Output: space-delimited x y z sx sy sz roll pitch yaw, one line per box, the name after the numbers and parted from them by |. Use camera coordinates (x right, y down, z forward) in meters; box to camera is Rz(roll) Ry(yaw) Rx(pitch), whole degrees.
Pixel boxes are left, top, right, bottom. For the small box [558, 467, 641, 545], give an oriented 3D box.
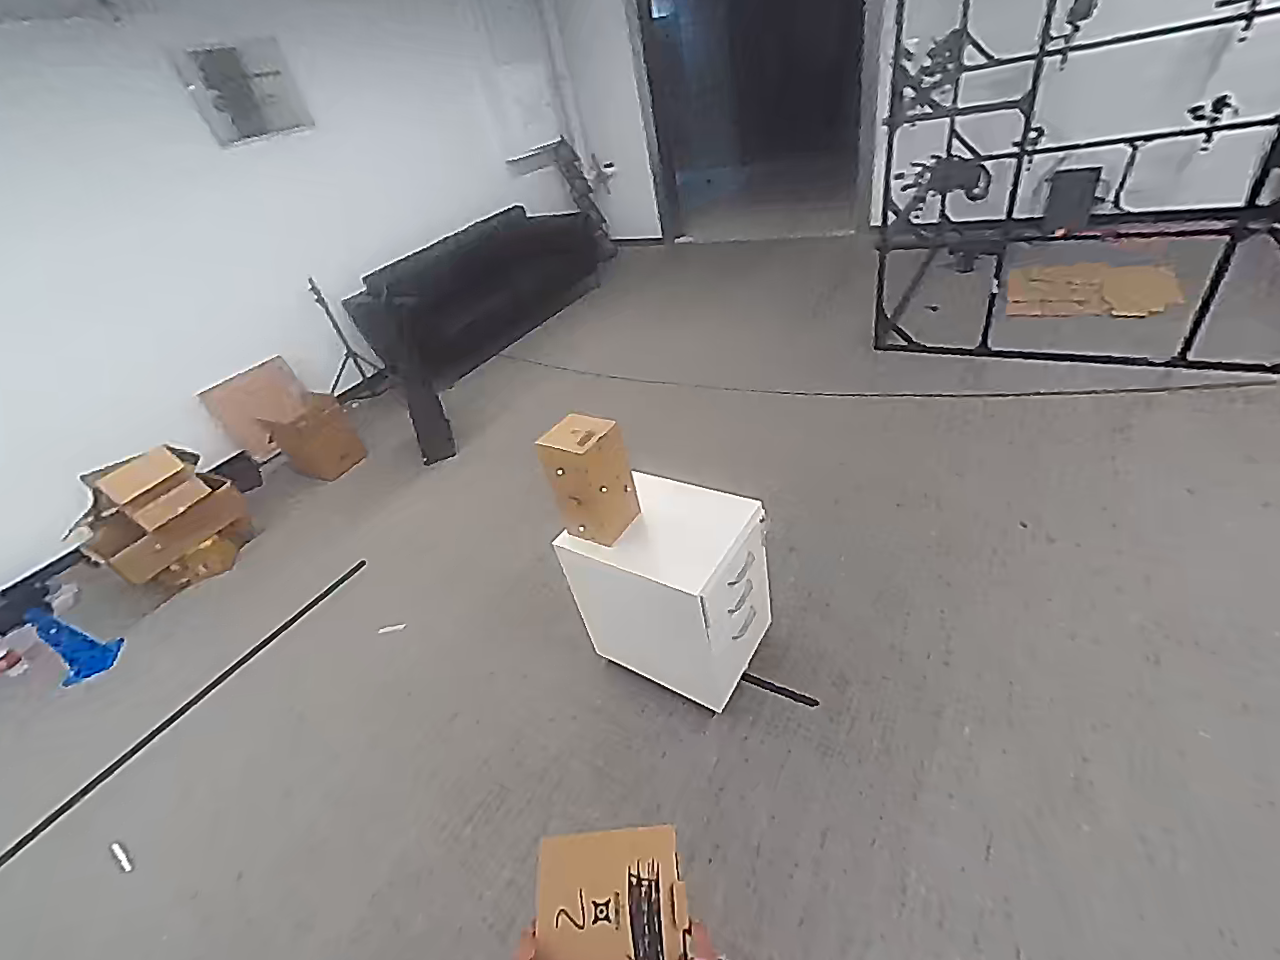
-0.113 0.062 1.604 0.168 0.176 0.179 14 44 33 | small box

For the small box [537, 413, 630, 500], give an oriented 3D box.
-0.149 -0.064 1.504 0.179 0.176 0.168 14 44 33 | small box
